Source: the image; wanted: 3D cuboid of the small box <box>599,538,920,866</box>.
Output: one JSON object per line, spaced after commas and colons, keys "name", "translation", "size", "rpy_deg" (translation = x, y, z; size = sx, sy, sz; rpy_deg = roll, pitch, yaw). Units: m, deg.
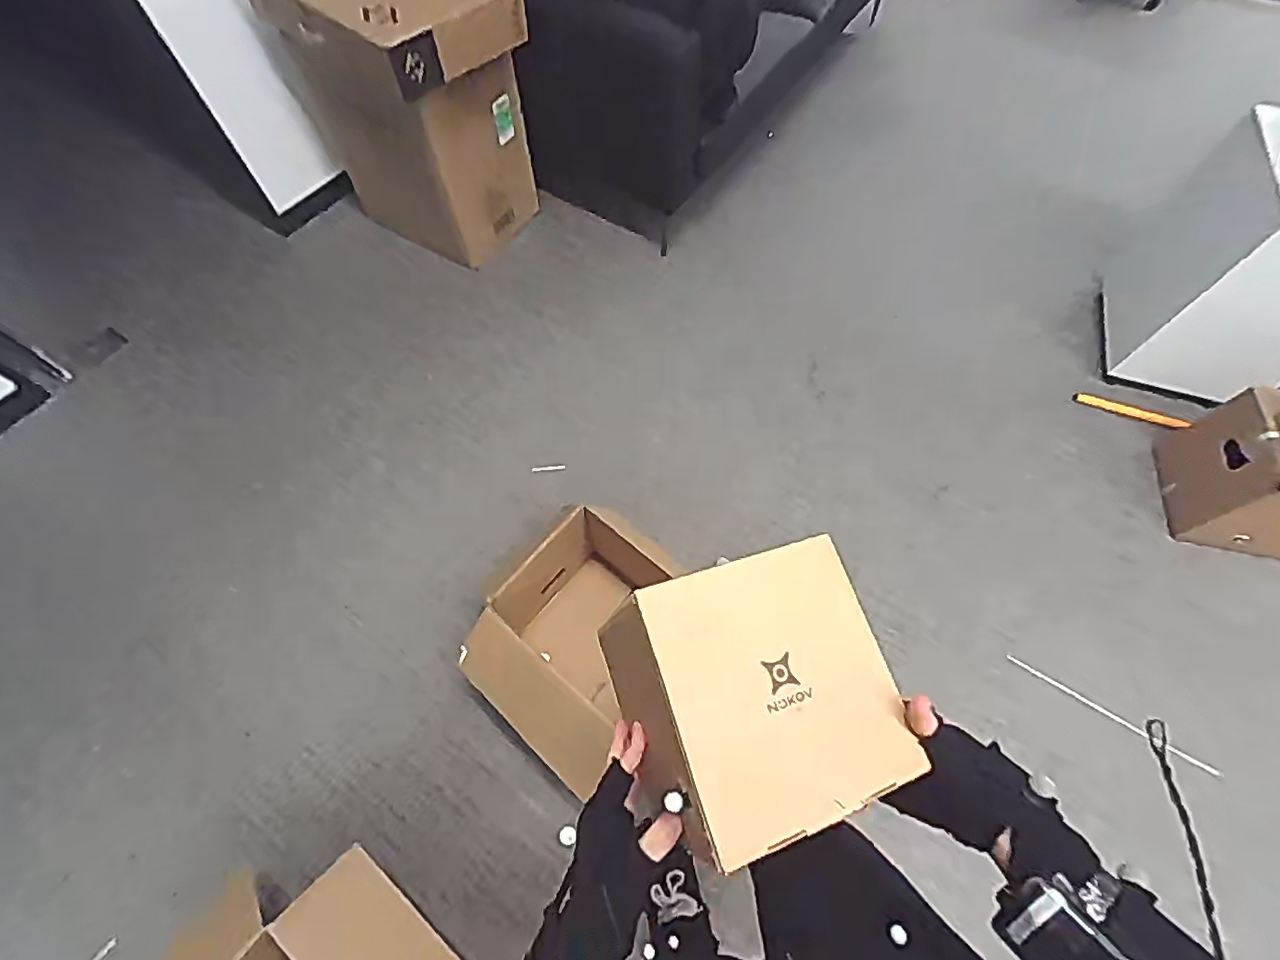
{"name": "small box", "translation": [0.075, 0.169, 0.444], "size": [0.168, 0.176, 0.179], "rpy_deg": [-13, 72, -20]}
